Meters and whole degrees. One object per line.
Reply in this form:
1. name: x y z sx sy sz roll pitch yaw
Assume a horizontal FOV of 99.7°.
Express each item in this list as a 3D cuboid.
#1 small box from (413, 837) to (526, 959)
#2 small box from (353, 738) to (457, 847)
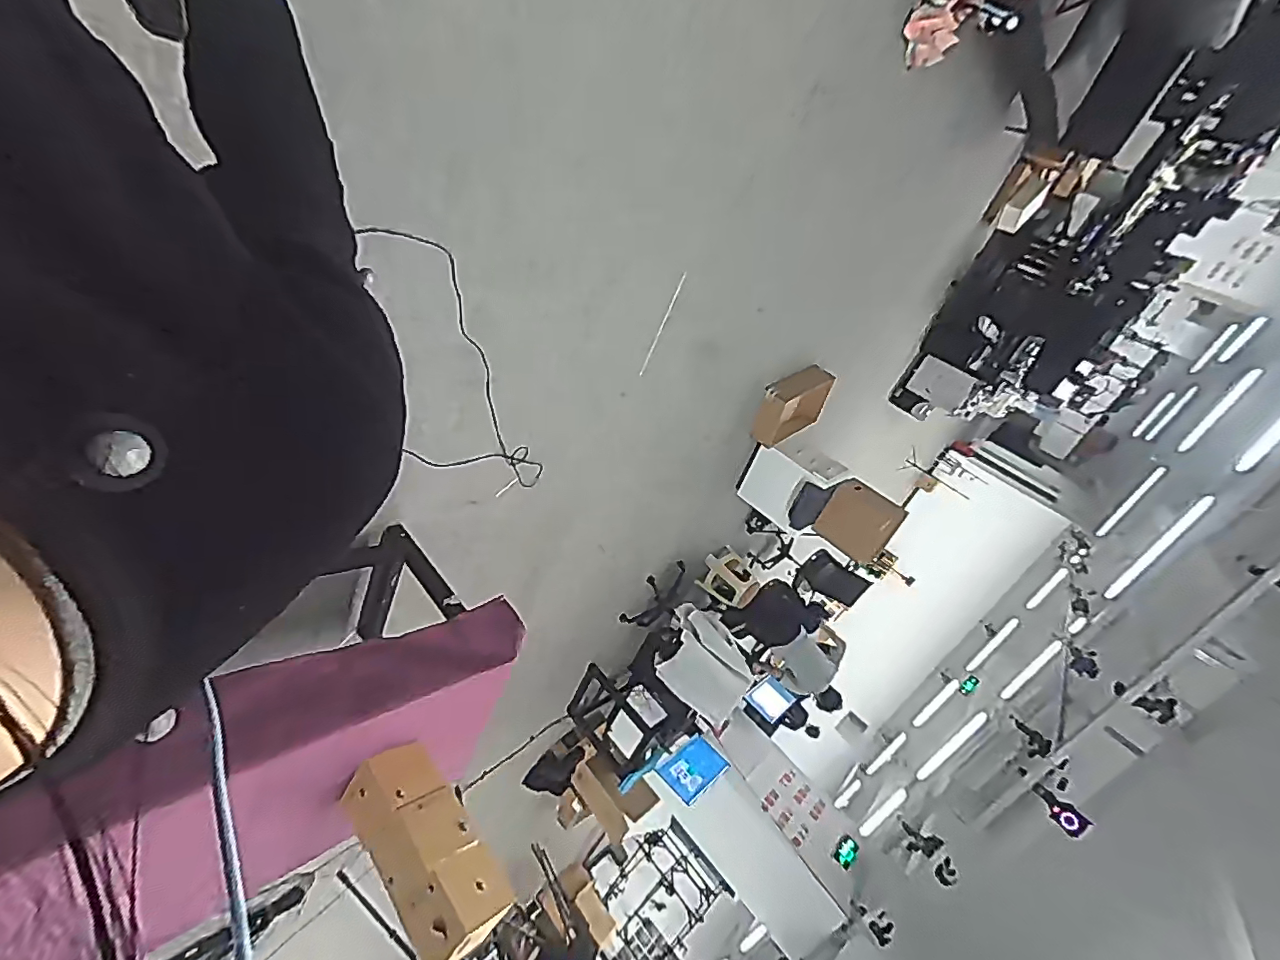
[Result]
1. small box: -0.428 1.046 1.349 0.168 0.176 0.179 -54 151 8
2. small box: -0.649 0.848 1.492 0.179 0.176 0.168 9 117 -57
